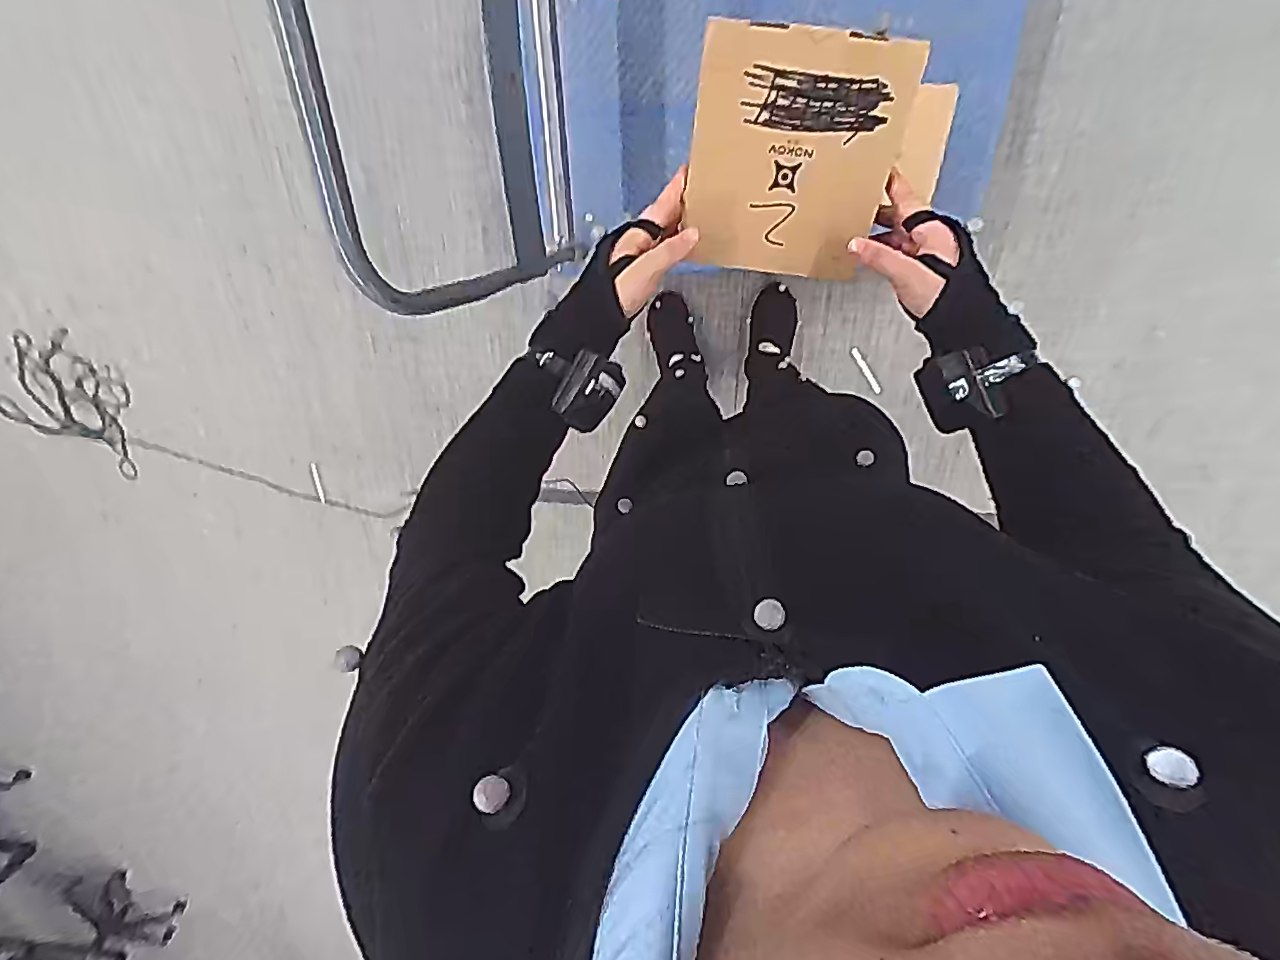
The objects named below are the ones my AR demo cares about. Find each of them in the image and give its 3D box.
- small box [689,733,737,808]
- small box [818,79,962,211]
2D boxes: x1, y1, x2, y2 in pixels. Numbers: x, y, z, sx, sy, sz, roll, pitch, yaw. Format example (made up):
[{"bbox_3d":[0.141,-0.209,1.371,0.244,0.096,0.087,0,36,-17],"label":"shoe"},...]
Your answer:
[{"bbox_3d":[0.264,1.063,1.979,0.168,0.176,0.179,0,116,6],"label":"small box"},{"bbox_3d":[0.418,-0.572,0.941,0.168,0.176,0.179,5,117,5],"label":"small box"}]
